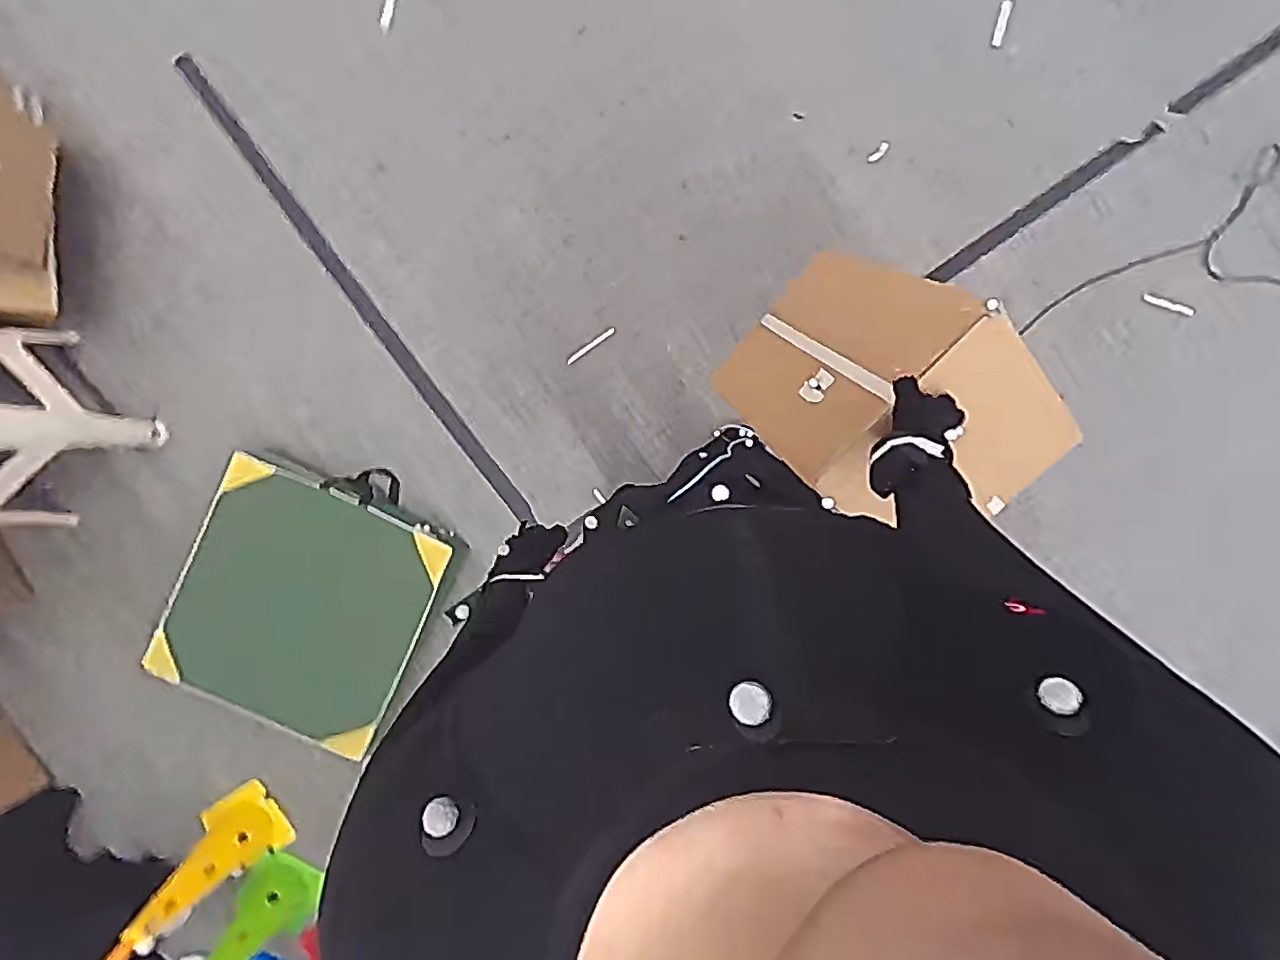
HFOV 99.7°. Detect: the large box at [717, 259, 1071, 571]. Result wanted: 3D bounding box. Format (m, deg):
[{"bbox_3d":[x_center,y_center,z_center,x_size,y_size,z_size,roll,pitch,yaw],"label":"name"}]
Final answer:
[{"bbox_3d":[0.400,-0.123,0.932,0.320,0.408,0.320,33,108,-30],"label":"large box"}]
